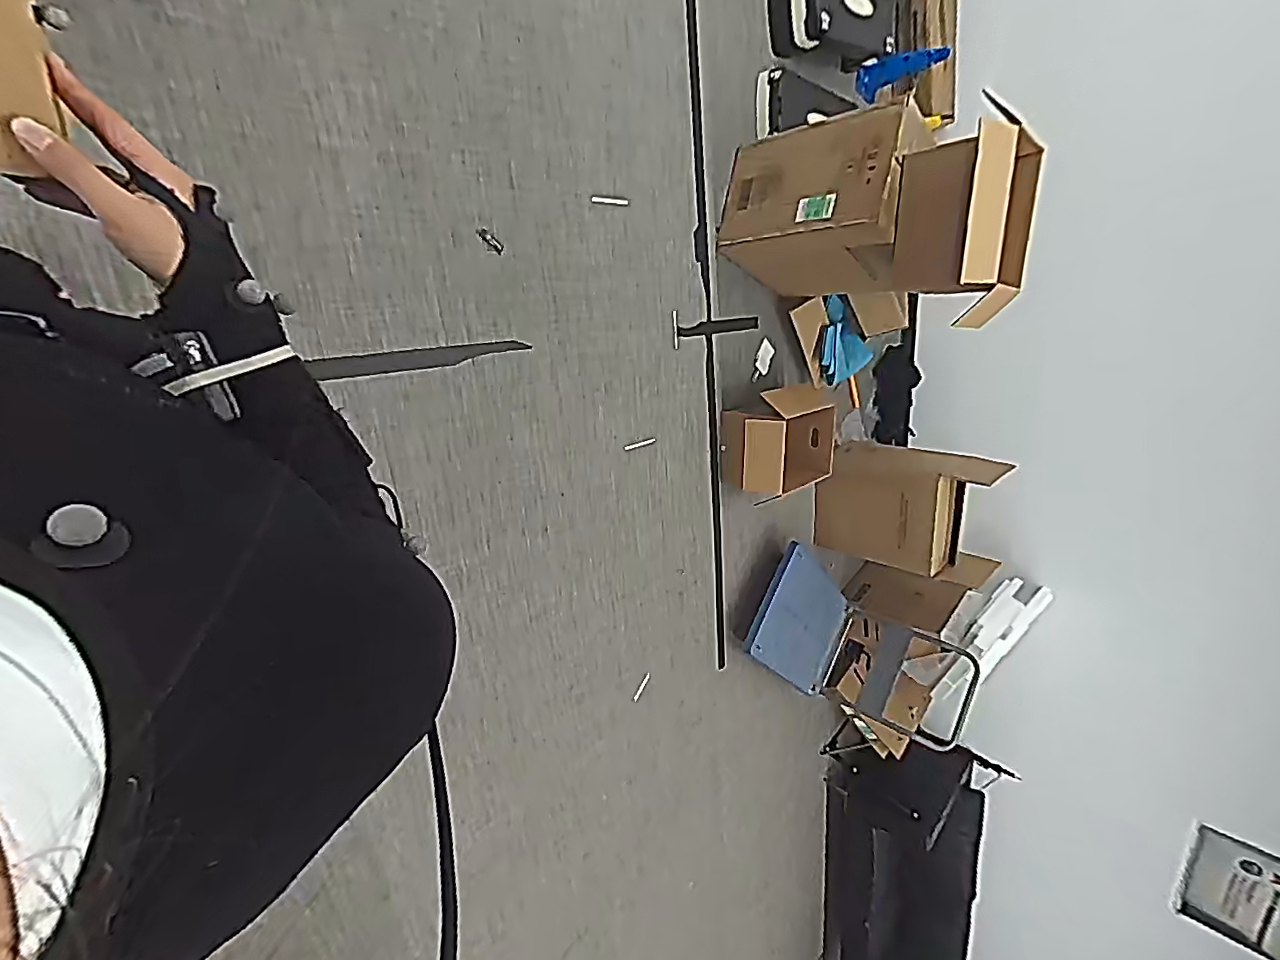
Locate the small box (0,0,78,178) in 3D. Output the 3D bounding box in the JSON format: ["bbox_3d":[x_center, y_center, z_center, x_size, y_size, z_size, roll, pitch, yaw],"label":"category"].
[{"bbox_3d":[-0.421,-0.269,0.263,0.179,0.176,0.168,-14,131,-39],"label":"small box"}]
